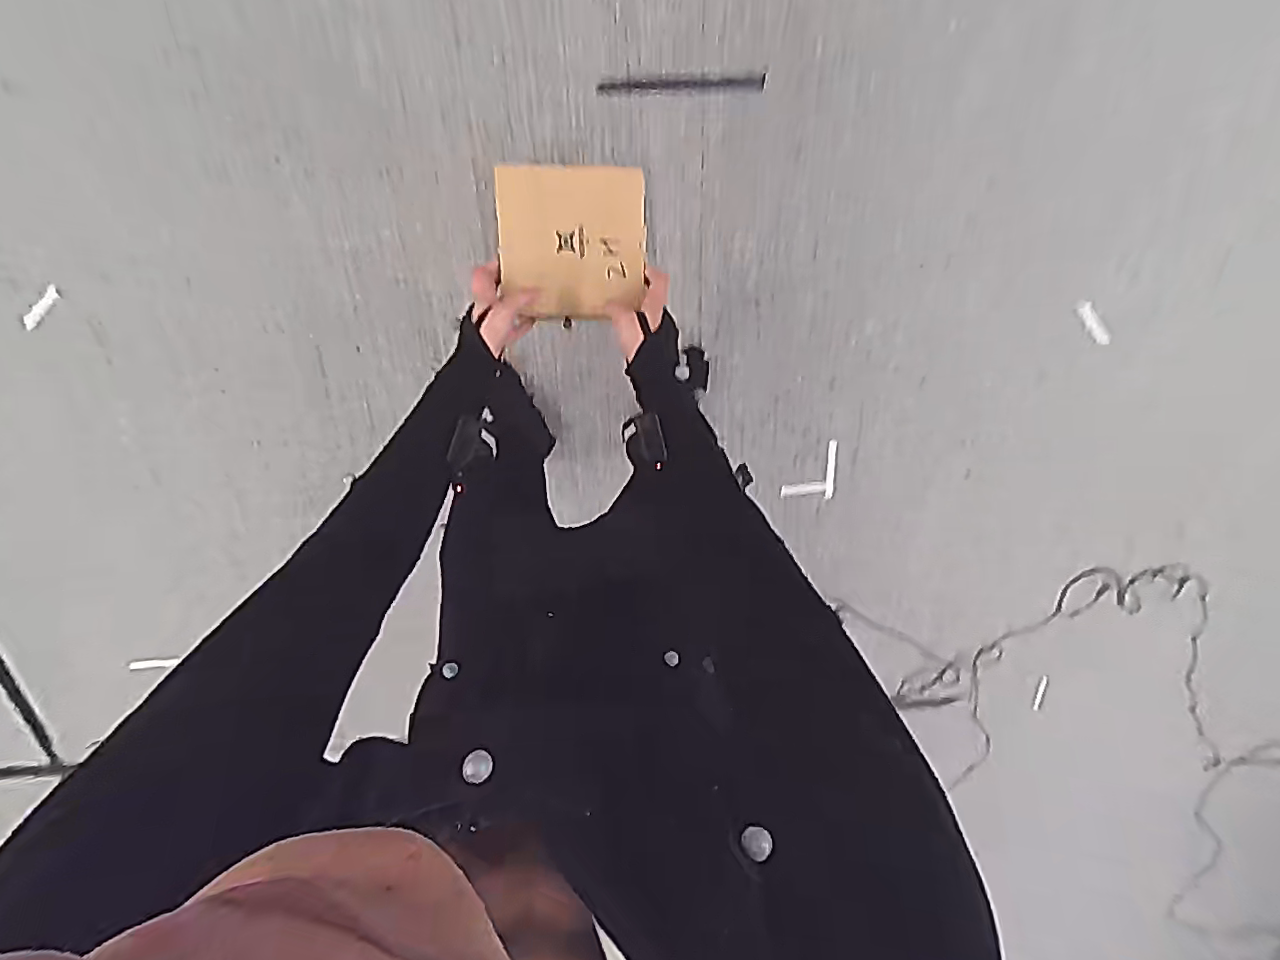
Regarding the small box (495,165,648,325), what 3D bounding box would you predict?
[{"bbox_3d":[-0.084,-0.292,0.707,0.179,0.176,0.168,-1,104,-5],"label":"small box"}]
